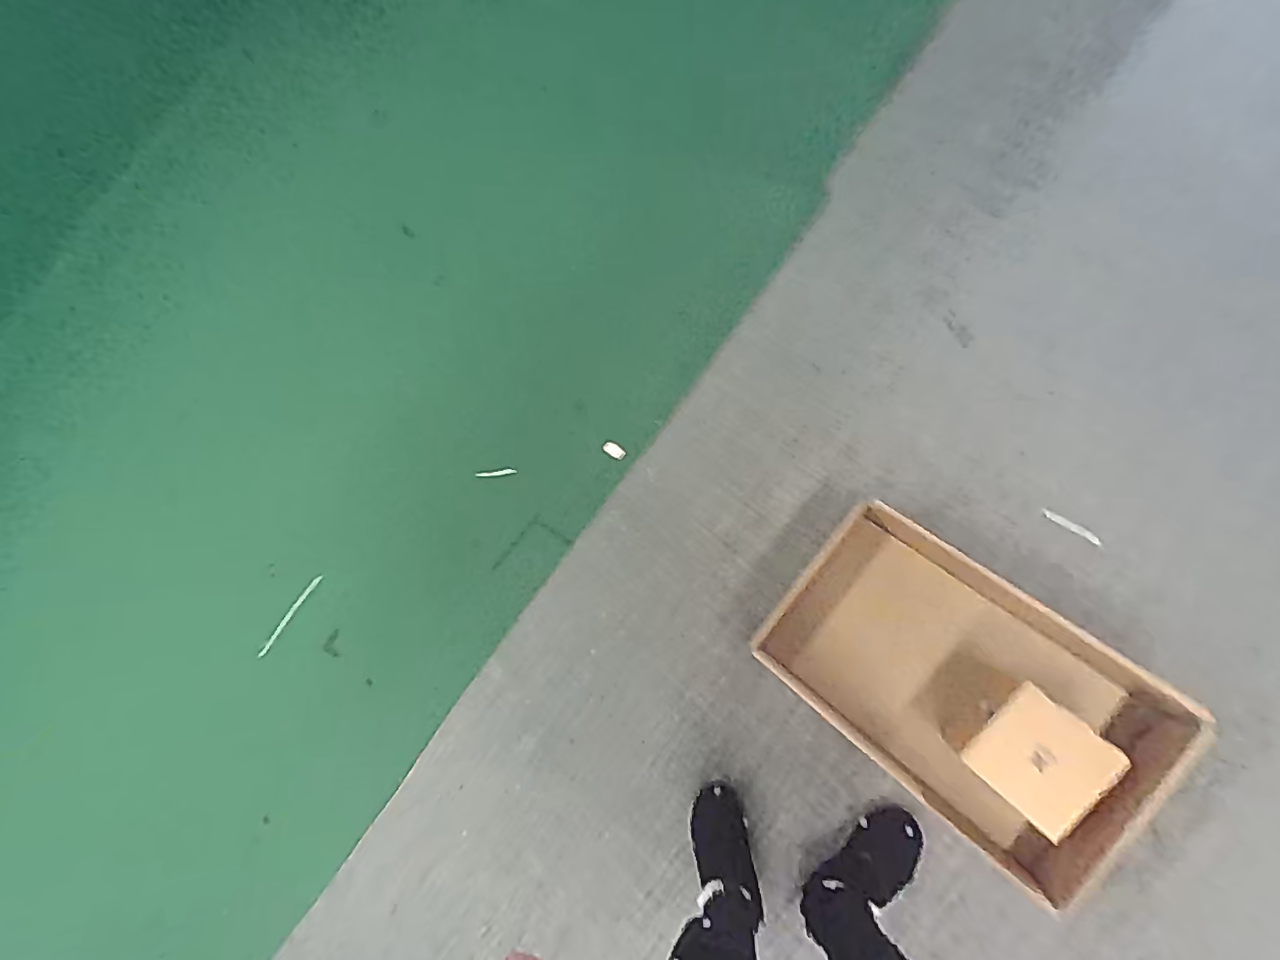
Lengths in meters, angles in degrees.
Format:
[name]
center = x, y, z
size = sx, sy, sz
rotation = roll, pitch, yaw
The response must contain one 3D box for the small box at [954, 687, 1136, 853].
[small box]
center = 0.674, 0.483, 0.930
size = 0.168, 0.176, 0.179
rotation = 42, 91, 25
